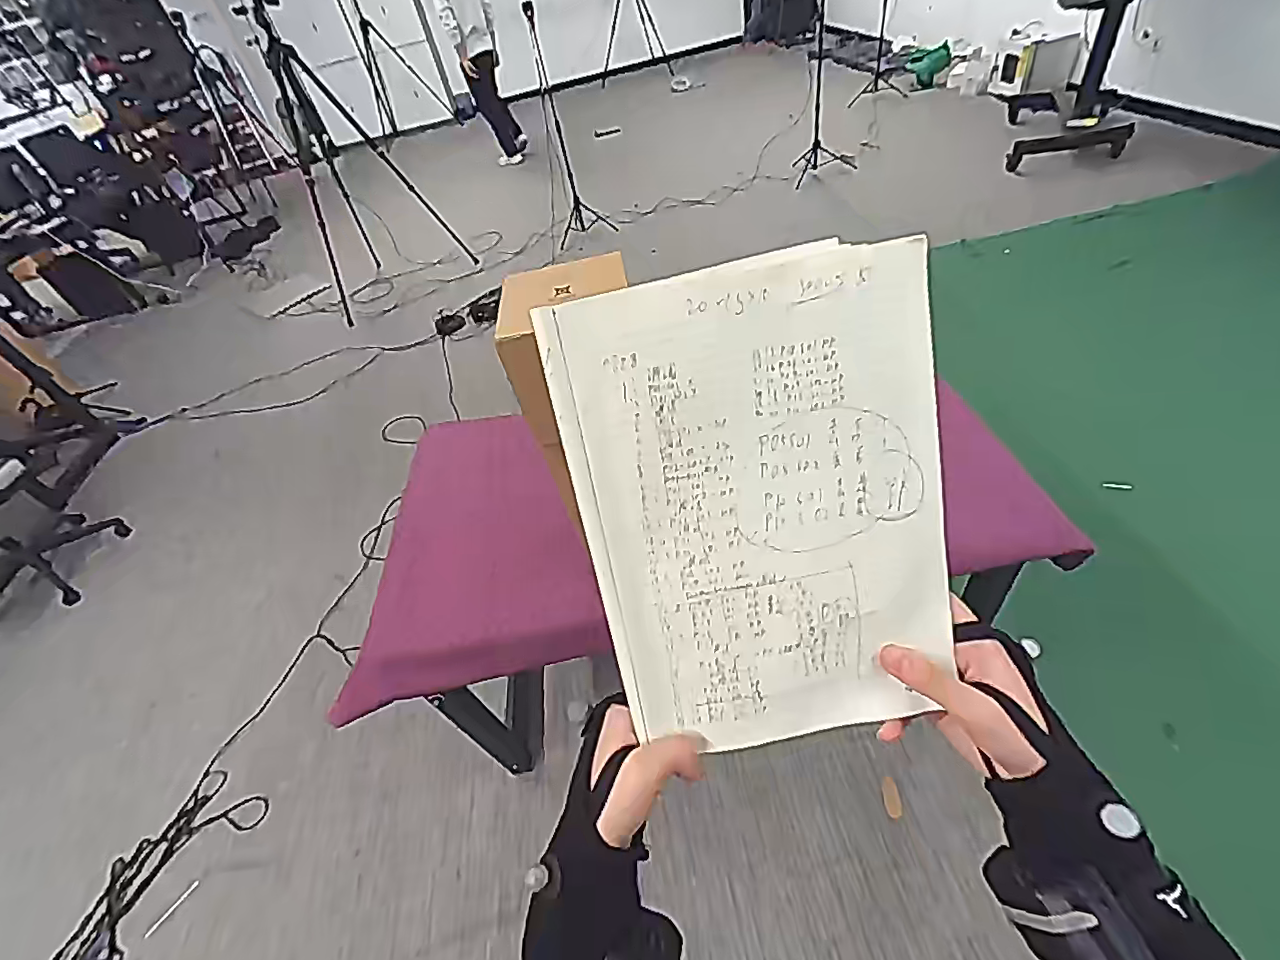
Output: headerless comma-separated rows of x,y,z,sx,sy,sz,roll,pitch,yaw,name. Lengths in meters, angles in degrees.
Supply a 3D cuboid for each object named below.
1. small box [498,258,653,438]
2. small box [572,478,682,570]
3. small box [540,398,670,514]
-0.080,-0.173,0.741,0.168,0.176,0.179,-10,44,3,small box
-0.023,0.047,0.978,0.168,0.176,0.179,-11,45,3,small box
-0.052,-0.063,0.859,0.168,0.176,0.179,-11,43,3,small box
